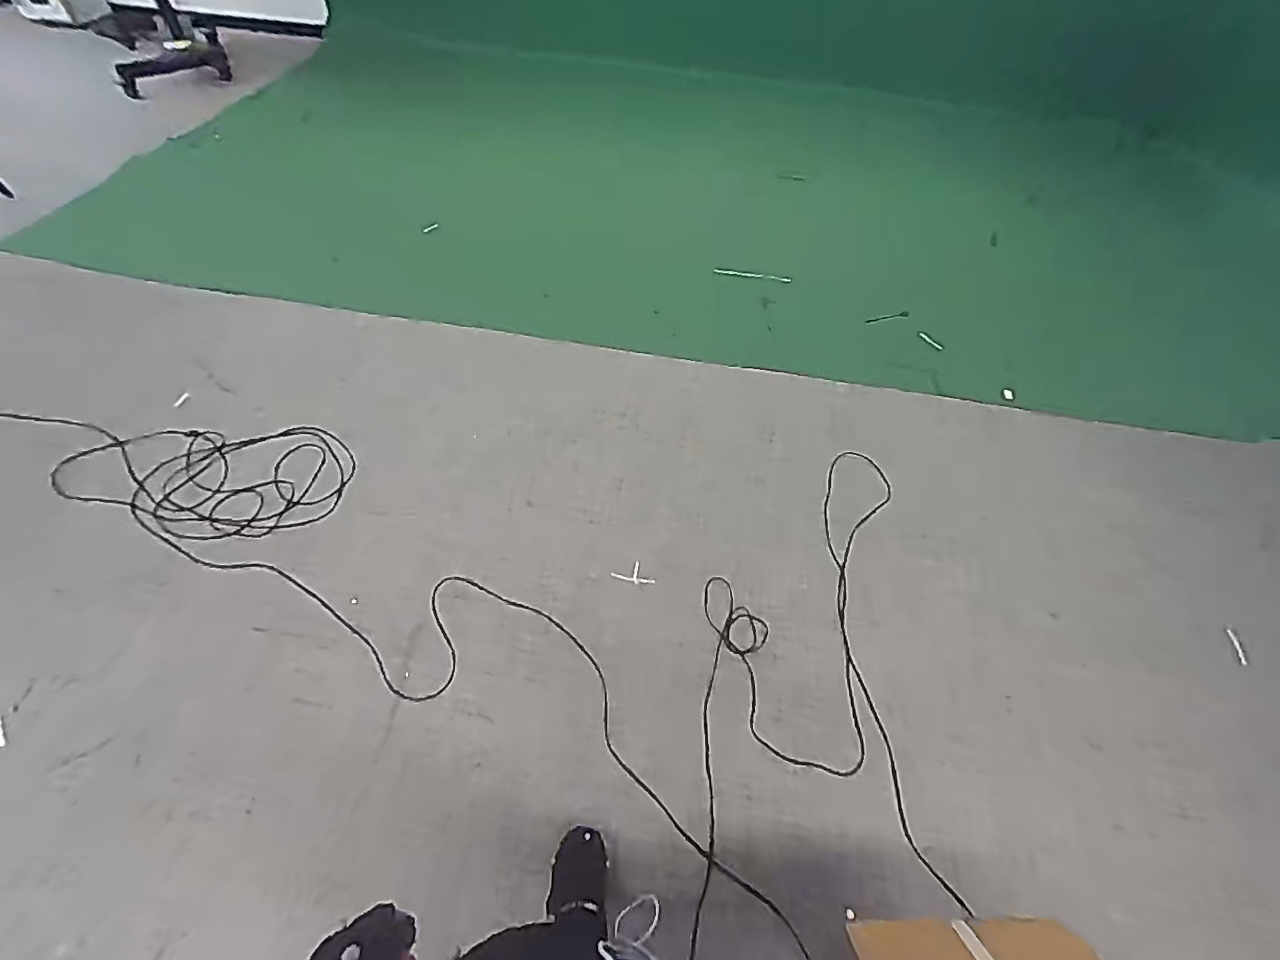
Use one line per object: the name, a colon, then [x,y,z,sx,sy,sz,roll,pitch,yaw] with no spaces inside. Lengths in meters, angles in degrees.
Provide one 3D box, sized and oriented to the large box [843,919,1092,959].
large box: [0.446,0.775,0.573,0.320,0.408,0.320,-1,85,3]
